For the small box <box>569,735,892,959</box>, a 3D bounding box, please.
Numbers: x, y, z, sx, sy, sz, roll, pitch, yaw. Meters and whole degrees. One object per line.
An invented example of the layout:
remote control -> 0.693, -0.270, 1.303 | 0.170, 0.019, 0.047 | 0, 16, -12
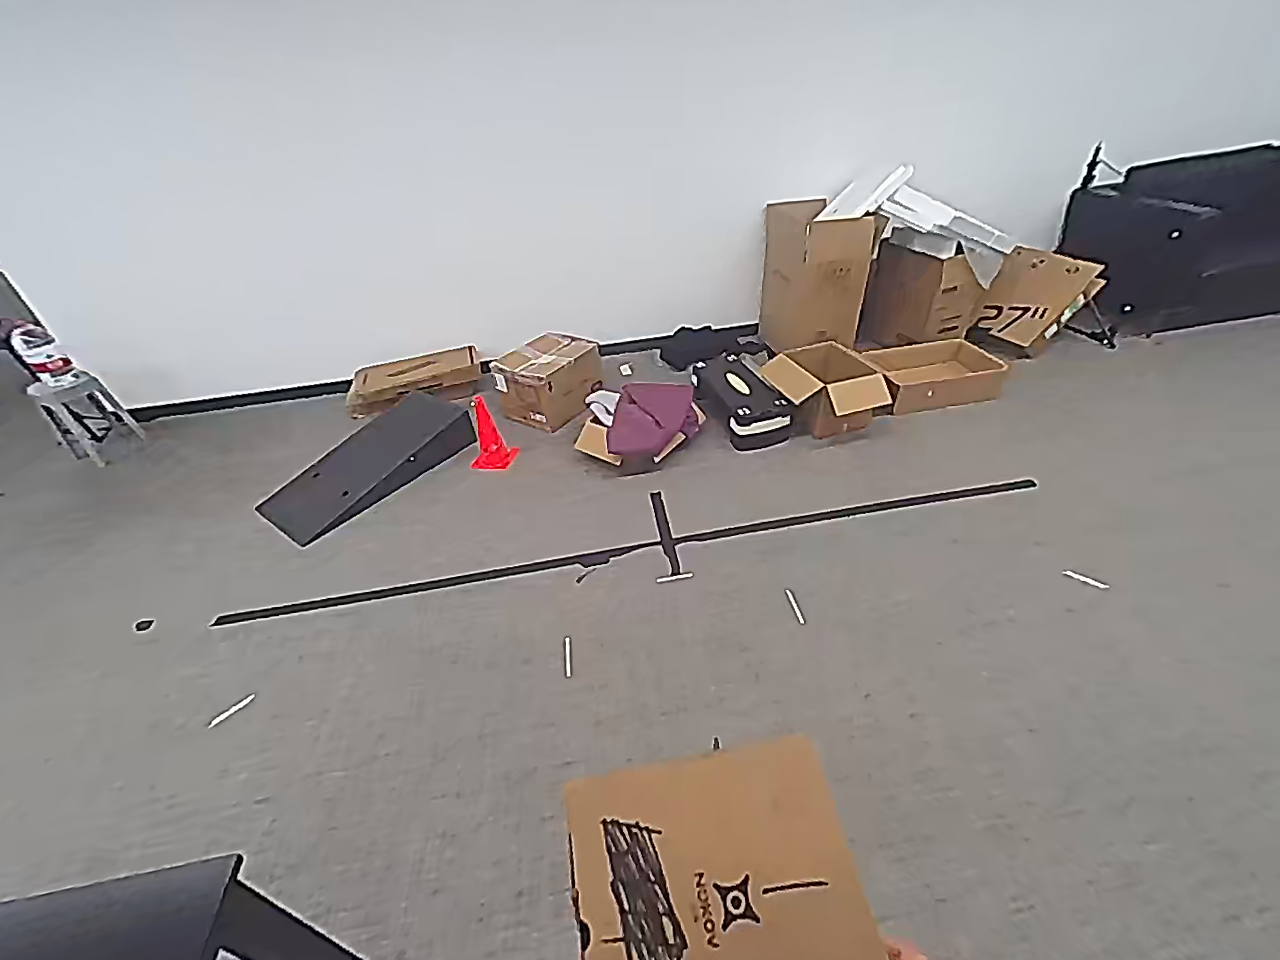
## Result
small box -> 0.052, 0.303, 0.385 | 0.179, 0.176, 0.168 | -8, 52, -6
